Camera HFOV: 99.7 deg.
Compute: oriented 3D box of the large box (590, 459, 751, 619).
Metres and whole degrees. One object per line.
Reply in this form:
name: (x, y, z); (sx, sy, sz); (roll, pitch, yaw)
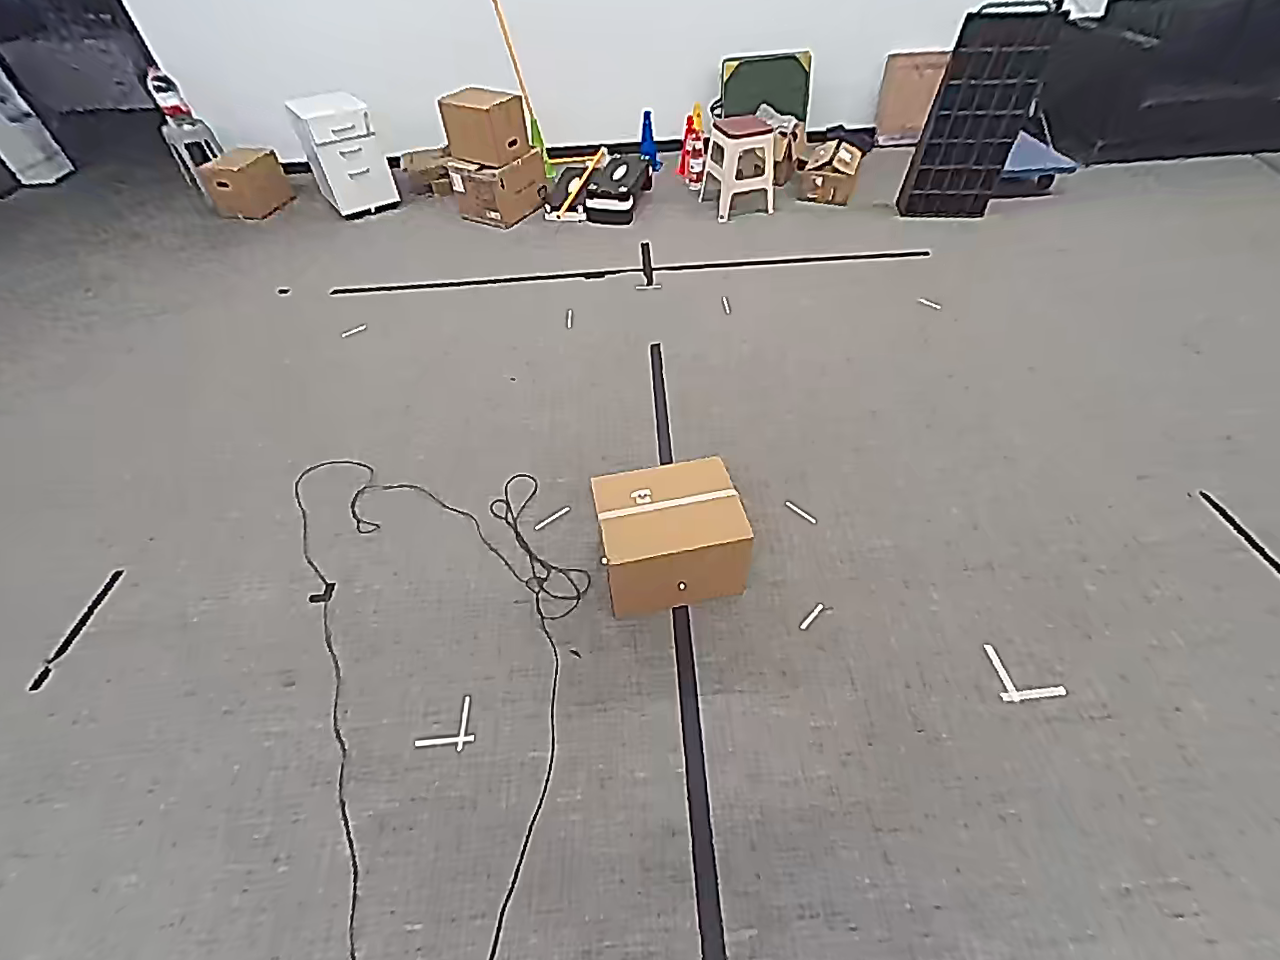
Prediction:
large box: (0.085, 0.182, 1.643); (0.408, 0.320, 0.320); (-11, 49, -6)
